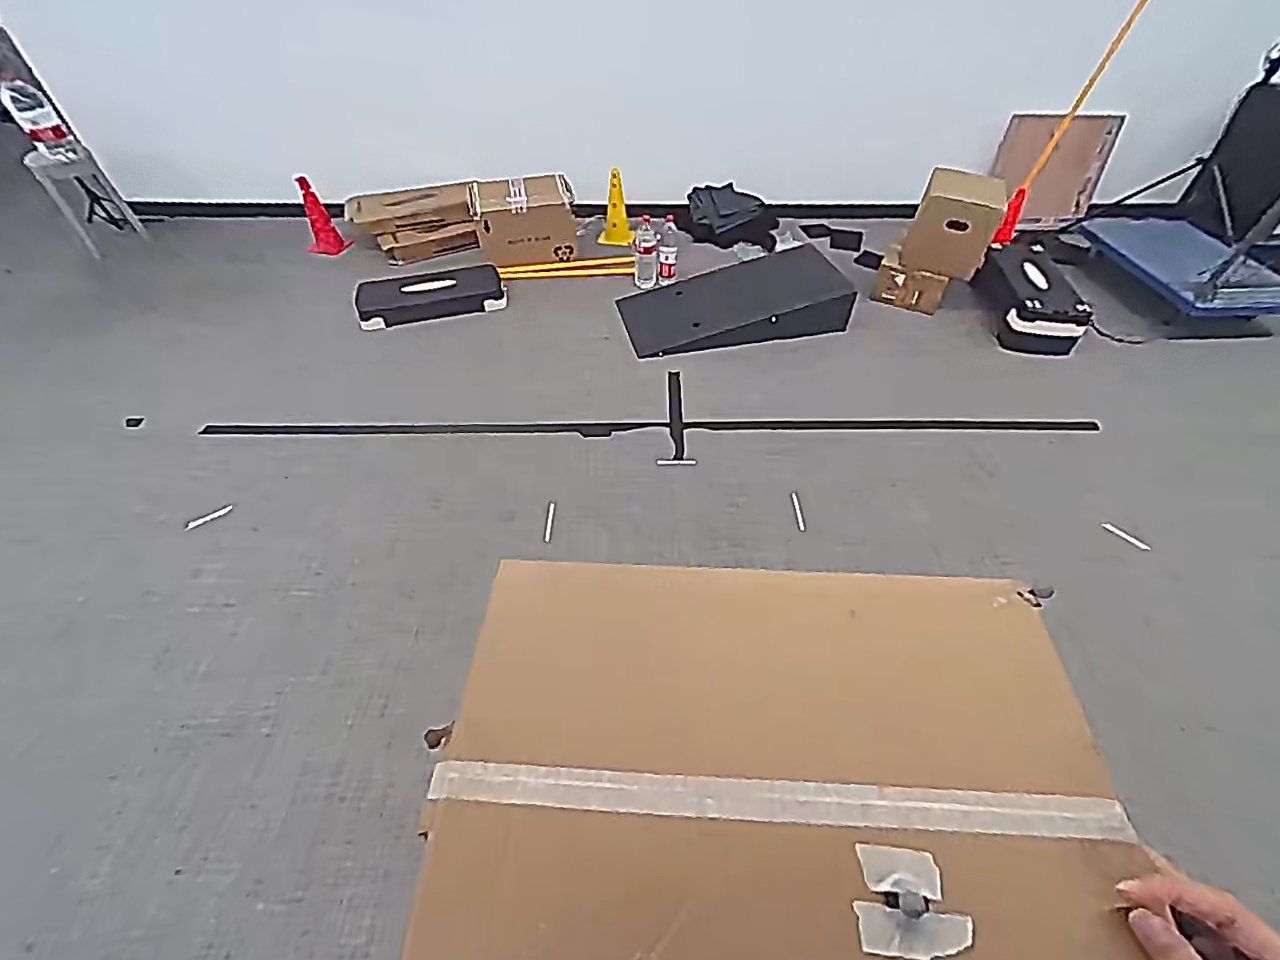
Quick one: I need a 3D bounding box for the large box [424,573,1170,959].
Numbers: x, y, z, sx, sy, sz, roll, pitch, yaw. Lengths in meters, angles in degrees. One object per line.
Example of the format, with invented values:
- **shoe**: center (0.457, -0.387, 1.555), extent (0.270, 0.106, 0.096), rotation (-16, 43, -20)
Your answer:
- **large box**: center (0.086, 0.291, 0.450), extent (0.408, 0.320, 0.320), rotation (2, 52, 3)
